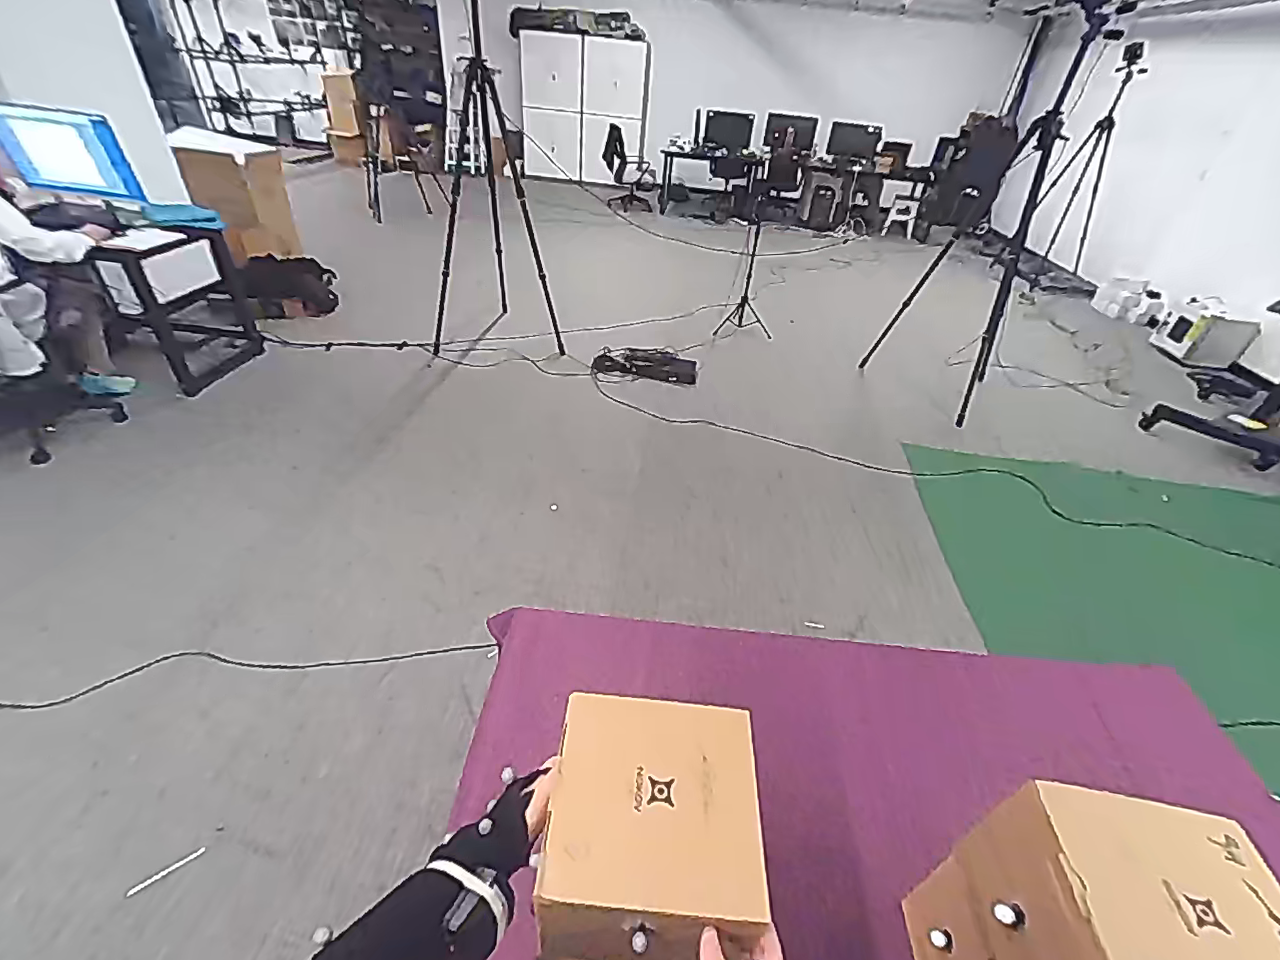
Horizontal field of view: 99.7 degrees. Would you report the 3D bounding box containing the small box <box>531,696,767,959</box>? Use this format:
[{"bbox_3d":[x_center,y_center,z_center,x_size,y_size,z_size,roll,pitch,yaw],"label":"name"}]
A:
[{"bbox_3d":[0.007,0.327,0.499,0.179,0.176,0.168,6,38,1],"label":"small box"}]

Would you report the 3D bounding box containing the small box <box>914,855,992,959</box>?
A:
[{"bbox_3d":[0.410,0.525,0.561,0.179,0.176,0.168,7,37,1],"label":"small box"}]

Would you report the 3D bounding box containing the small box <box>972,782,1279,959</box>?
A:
[{"bbox_3d":[0.415,0.395,0.460,0.179,0.176,0.168,9,37,6],"label":"small box"}]
